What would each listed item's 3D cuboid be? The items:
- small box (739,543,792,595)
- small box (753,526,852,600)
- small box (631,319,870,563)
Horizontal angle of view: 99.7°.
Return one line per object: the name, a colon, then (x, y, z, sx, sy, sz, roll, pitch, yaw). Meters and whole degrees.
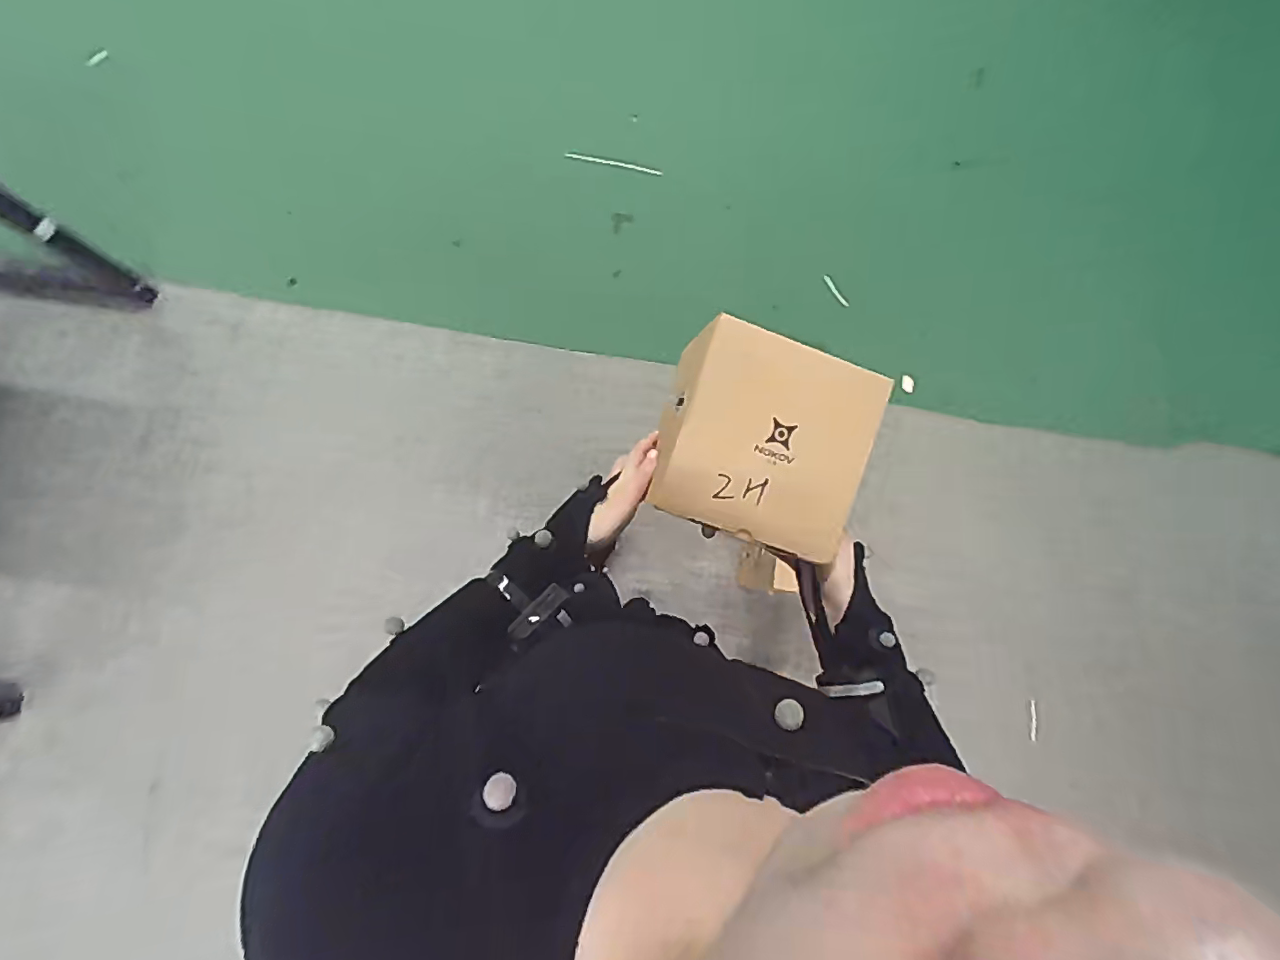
small box: (0.383, 0.220, 1.485, 0.179, 0.176, 0.168, 13, 79, -1)
small box: (0.393, 0.195, 1.325, 0.179, 0.176, 0.168, 10, 78, -2)
small box: (0.095, -0.036, 0.552, 0.168, 0.176, 0.179, 19, 91, -7)
